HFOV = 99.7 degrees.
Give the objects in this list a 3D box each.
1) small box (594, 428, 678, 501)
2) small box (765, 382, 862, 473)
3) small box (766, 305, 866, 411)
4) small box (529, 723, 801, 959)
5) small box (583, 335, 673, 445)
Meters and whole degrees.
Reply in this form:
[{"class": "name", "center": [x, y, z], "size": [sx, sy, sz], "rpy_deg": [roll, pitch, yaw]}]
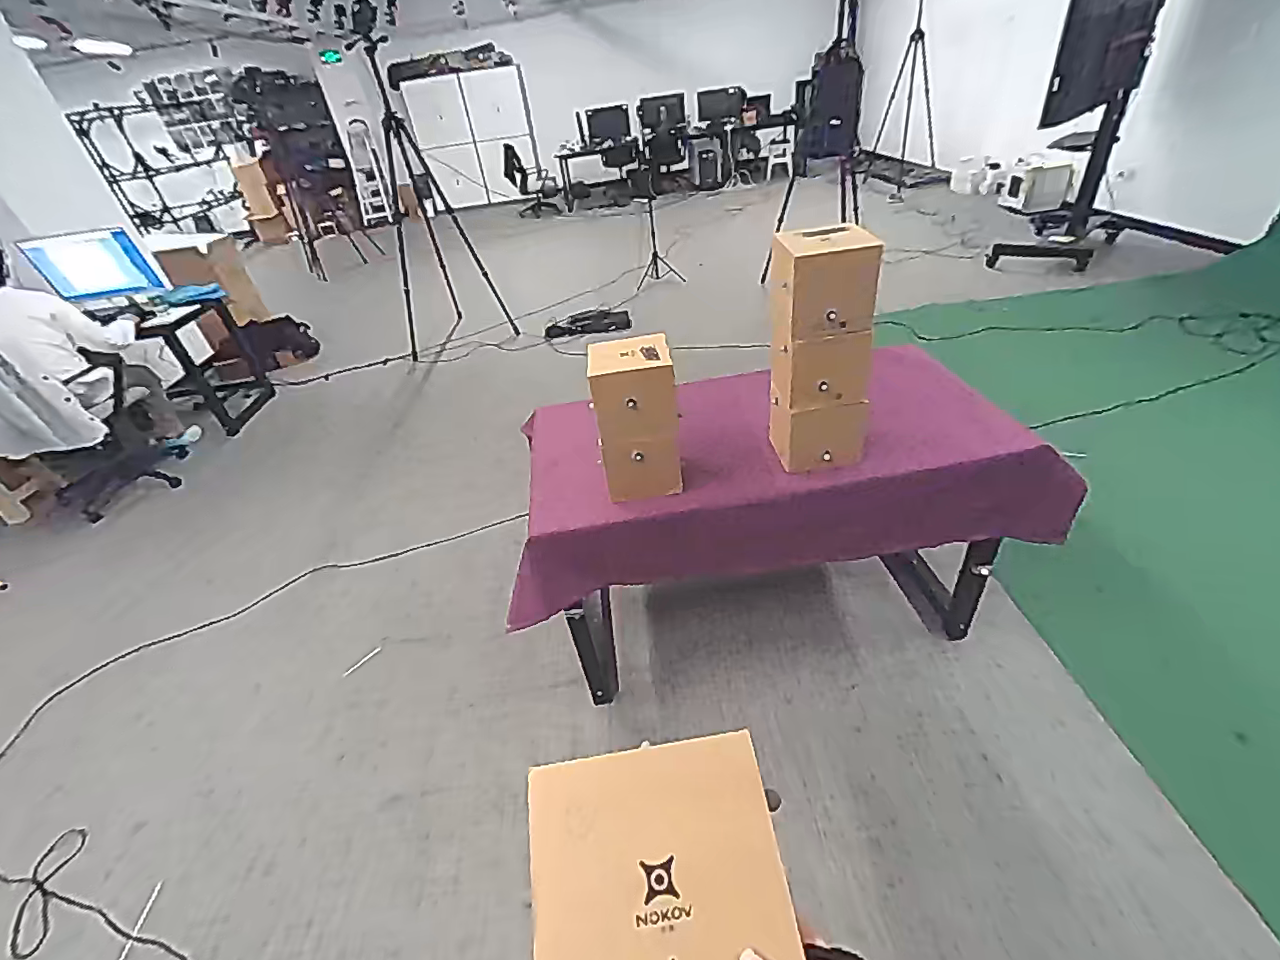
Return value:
[{"class": "small box", "center": [-0.009, -0.064, 1.286], "size": [0.179, 0.176, 0.168], "rpy_deg": [-7, 37, 1]}, {"class": "small box", "center": [0.405, -0.137, 1.296], "size": [0.179, 0.176, 0.168], "rpy_deg": [-8, 36, 0]}, {"class": "small box", "center": [0.382, -0.273, 1.209], "size": [0.168, 0.176, 0.179], "rpy_deg": [-8, 37, 1]}, {"class": "small box", "center": [0.012, 0.309, 0.421], "size": [0.168, 0.176, 0.179], "rpy_deg": [-9, 57, -4]}, {"class": "small box", "center": [-0.024, -0.196, 1.191], "size": [0.179, 0.176, 0.168], "rpy_deg": [-9, 37, 2]}]
